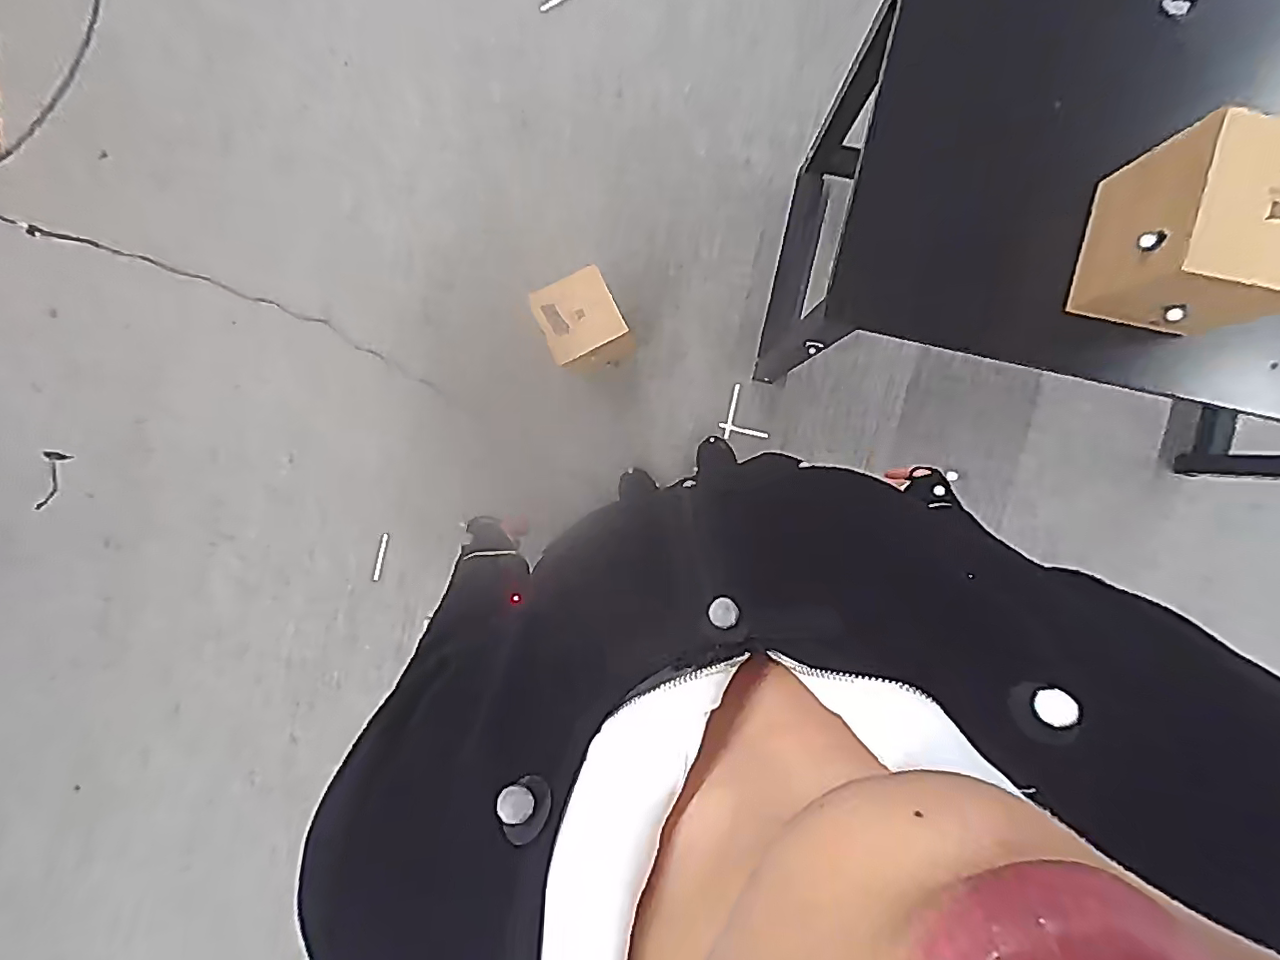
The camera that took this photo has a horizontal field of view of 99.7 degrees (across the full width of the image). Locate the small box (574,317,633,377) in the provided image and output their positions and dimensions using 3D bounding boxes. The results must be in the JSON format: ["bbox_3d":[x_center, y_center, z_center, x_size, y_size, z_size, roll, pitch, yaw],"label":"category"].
[{"bbox_3d":[-0.129,-0.388,1.415,0.179,0.176,0.168,-28,91,3],"label":"small box"}]

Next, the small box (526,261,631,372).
[{"bbox_3d":[-0.133,-0.366,1.251,0.179,0.176,0.168,-26,92,3],"label":"small box"}]

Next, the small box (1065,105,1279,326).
[{"bbox_3d":[0.667,-0.299,0.653,0.168,0.176,0.179,12,93,2],"label":"small box"}]
